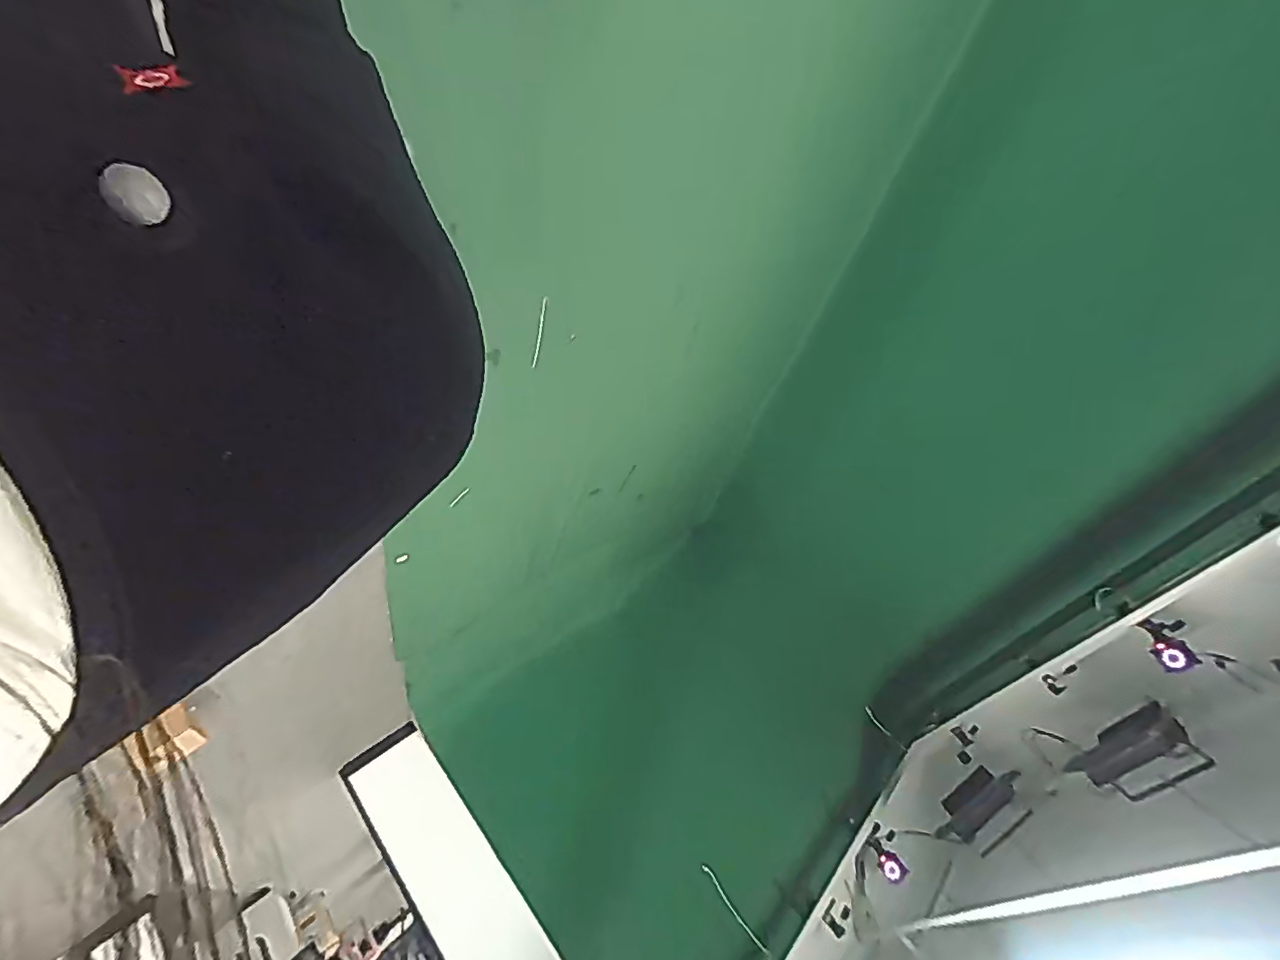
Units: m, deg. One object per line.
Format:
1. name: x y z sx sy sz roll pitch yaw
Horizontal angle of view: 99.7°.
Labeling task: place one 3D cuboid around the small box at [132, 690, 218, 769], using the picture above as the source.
1. small box: -1.704 0.910 1.976 0.179 0.176 0.168 -32 153 -30
